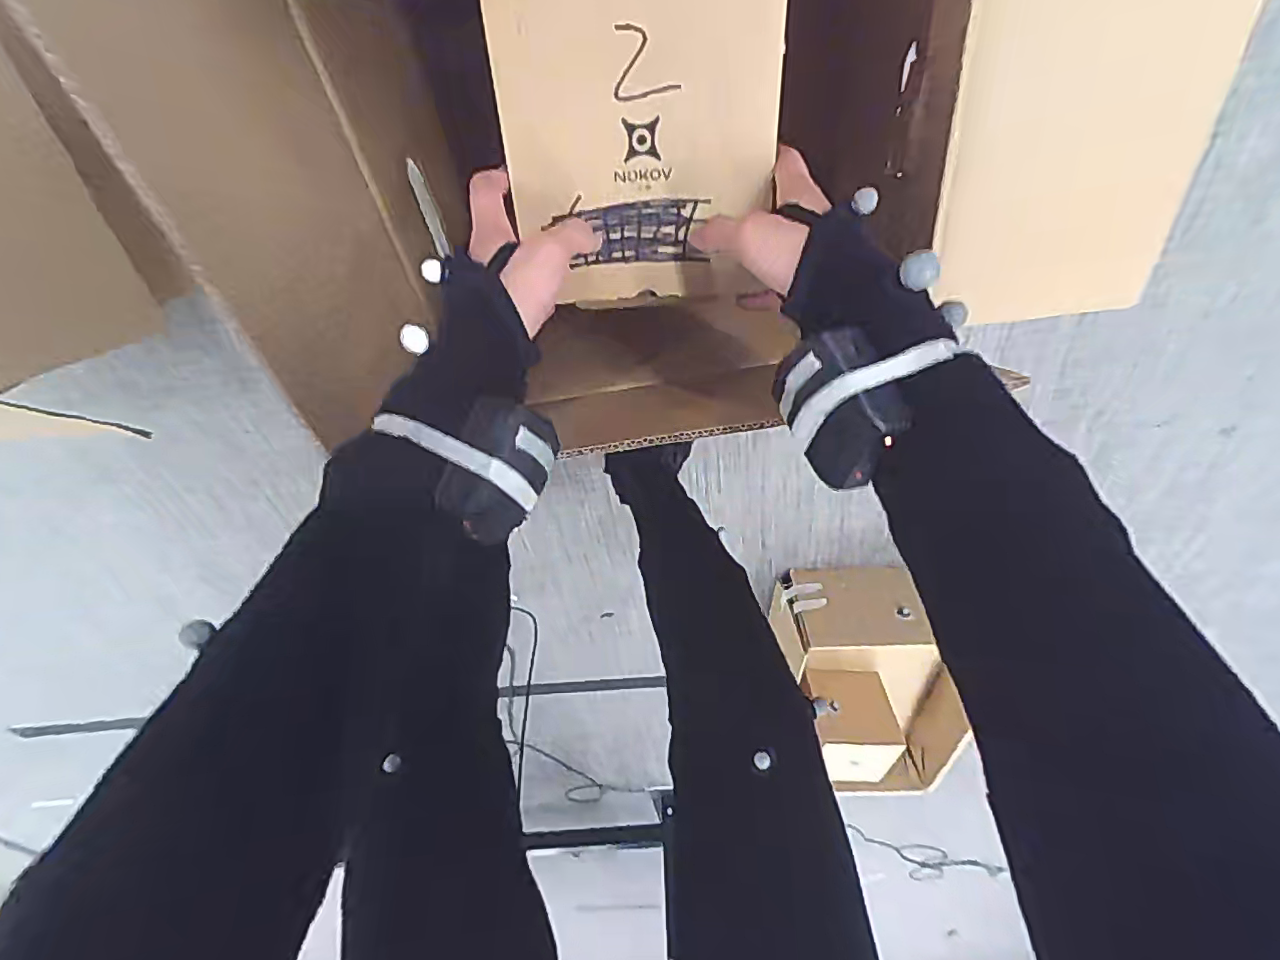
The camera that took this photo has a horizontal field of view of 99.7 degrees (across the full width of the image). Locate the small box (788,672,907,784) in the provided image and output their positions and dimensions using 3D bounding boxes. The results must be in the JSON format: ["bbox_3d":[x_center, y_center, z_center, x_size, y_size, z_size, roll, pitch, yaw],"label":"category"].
[{"bbox_3d":[0.442,0.542,1.190,0.179,0.176,0.168,5,128,-4],"label":"small box"}]
